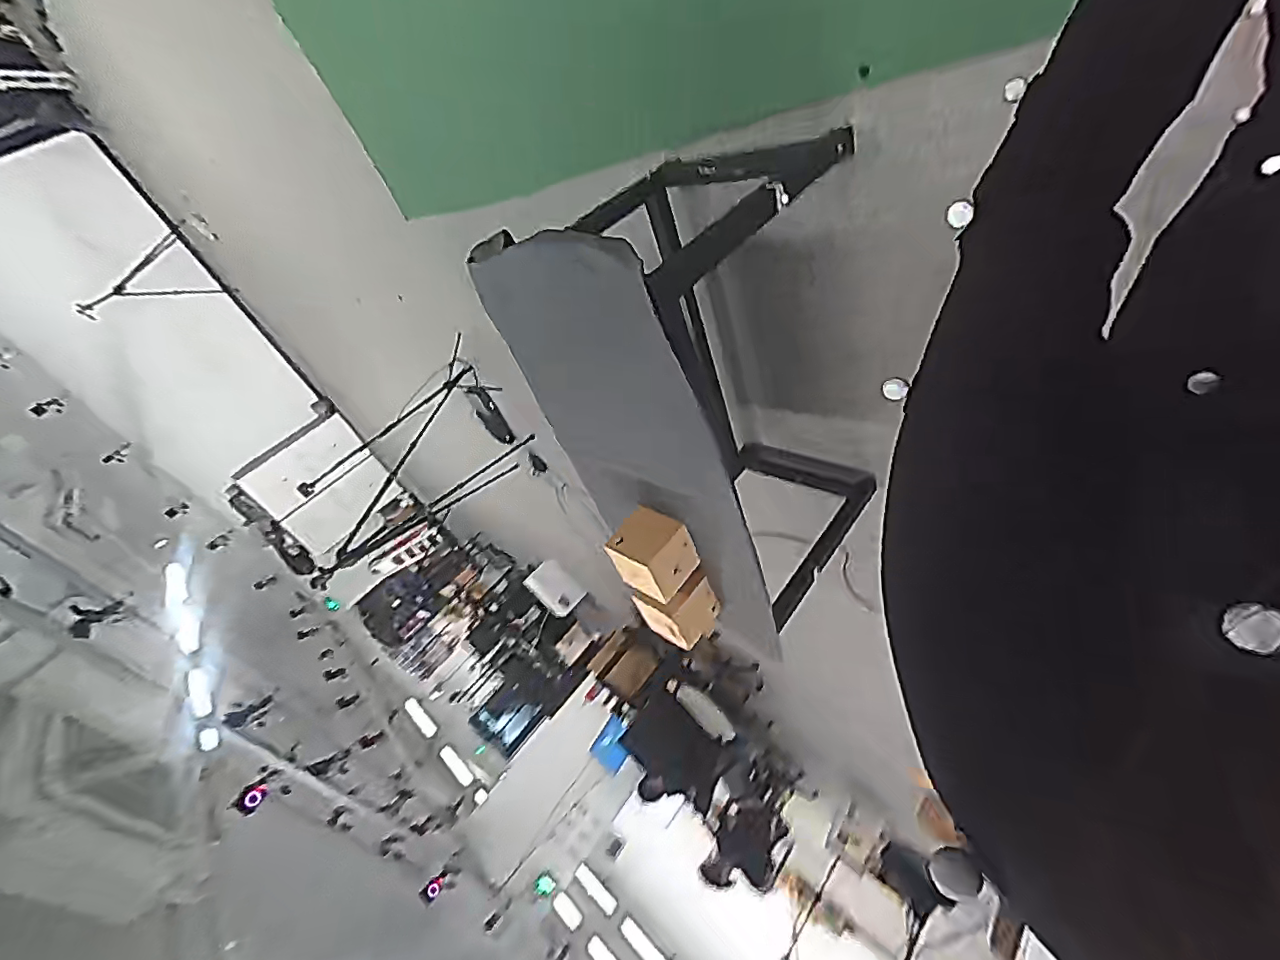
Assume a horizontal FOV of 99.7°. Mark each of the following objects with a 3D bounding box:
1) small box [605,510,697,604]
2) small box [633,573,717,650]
[{"bbox_3d":[0.040,0.208,1.509,0.179,0.176,0.168,20,146,44],"label":"small box"},{"bbox_3d":[0.115,0.380,1.654,0.179,0.176,0.168,17,144,46],"label":"small box"}]
